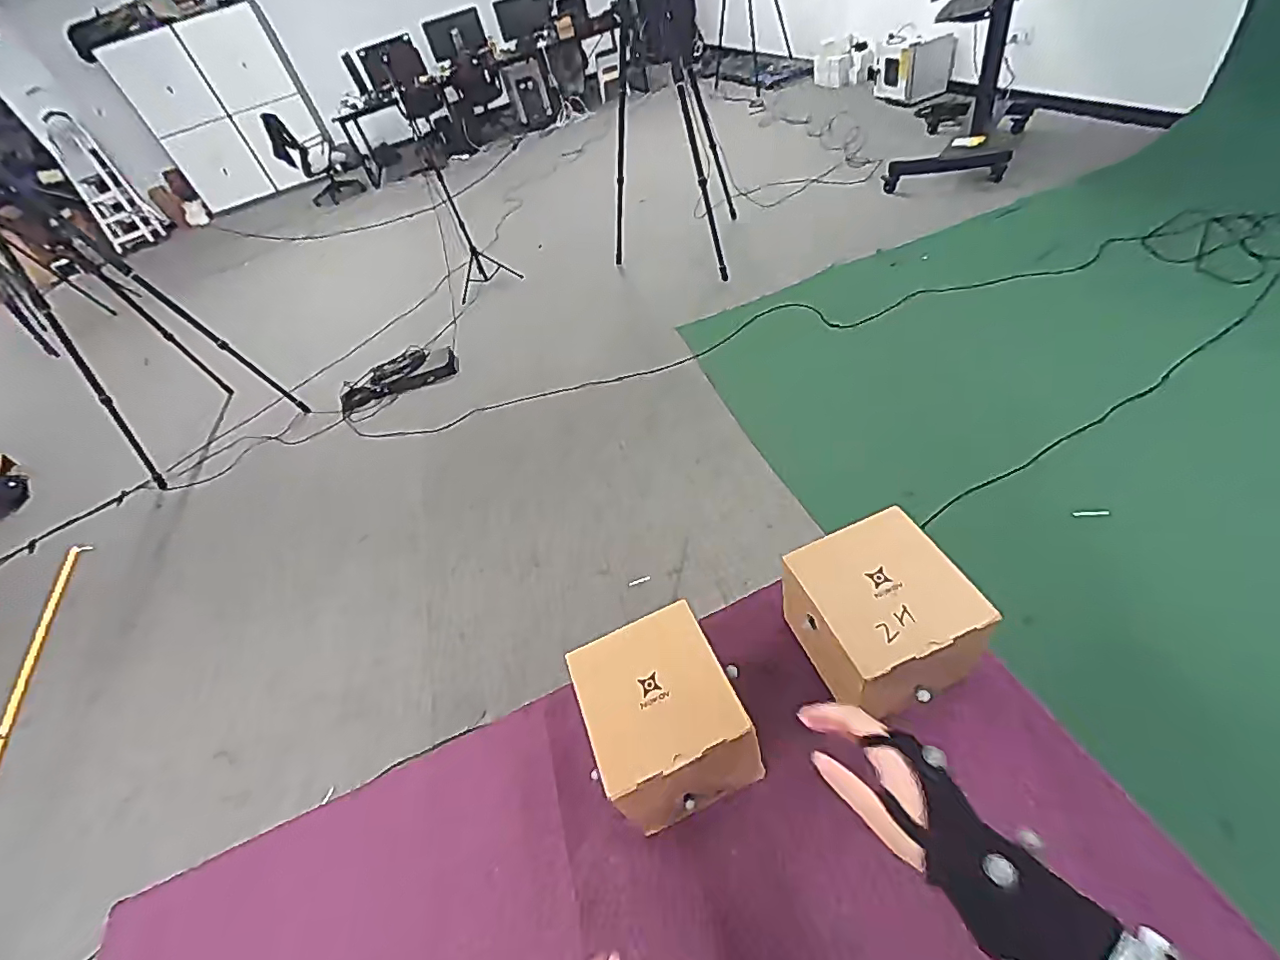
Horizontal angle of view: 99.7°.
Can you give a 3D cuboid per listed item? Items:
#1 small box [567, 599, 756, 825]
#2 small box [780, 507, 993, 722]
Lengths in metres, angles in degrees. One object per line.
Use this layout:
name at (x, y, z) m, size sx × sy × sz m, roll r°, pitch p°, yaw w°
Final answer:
small box at (0.028, 0.288, 0.670) m, size 0.168 × 0.176 × 0.179 m, roll -25°, pitch 46°, yaw -5°
small box at (0.292, 0.171, 0.685) m, size 0.168 × 0.176 × 0.179 m, roll -23°, pitch 48°, yaw -3°
